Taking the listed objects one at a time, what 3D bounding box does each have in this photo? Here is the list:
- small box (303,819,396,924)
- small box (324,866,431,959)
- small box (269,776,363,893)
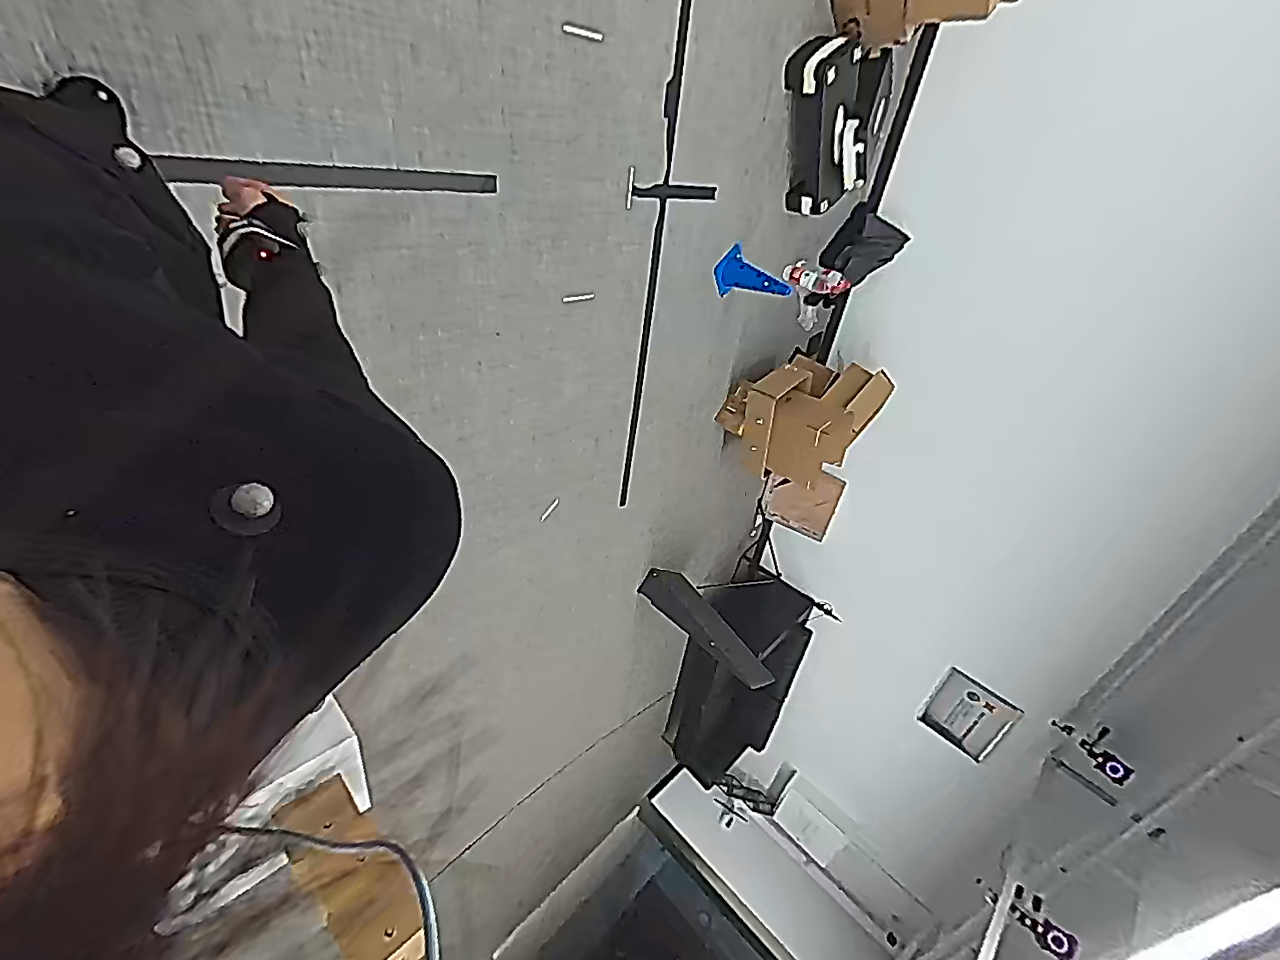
[{"bbox_3d":[-0.753,1.030,1.405,0.168,0.176,0.179,-20,133,-44],"label":"small box"},{"bbox_3d":[-0.633,1.096,1.311,0.179,0.176,0.168,-22,134,-42],"label":"small box"},{"bbox_3d":[-0.879,0.959,1.479,0.179,0.176,0.168,-21,133,-42],"label":"small box"}]
